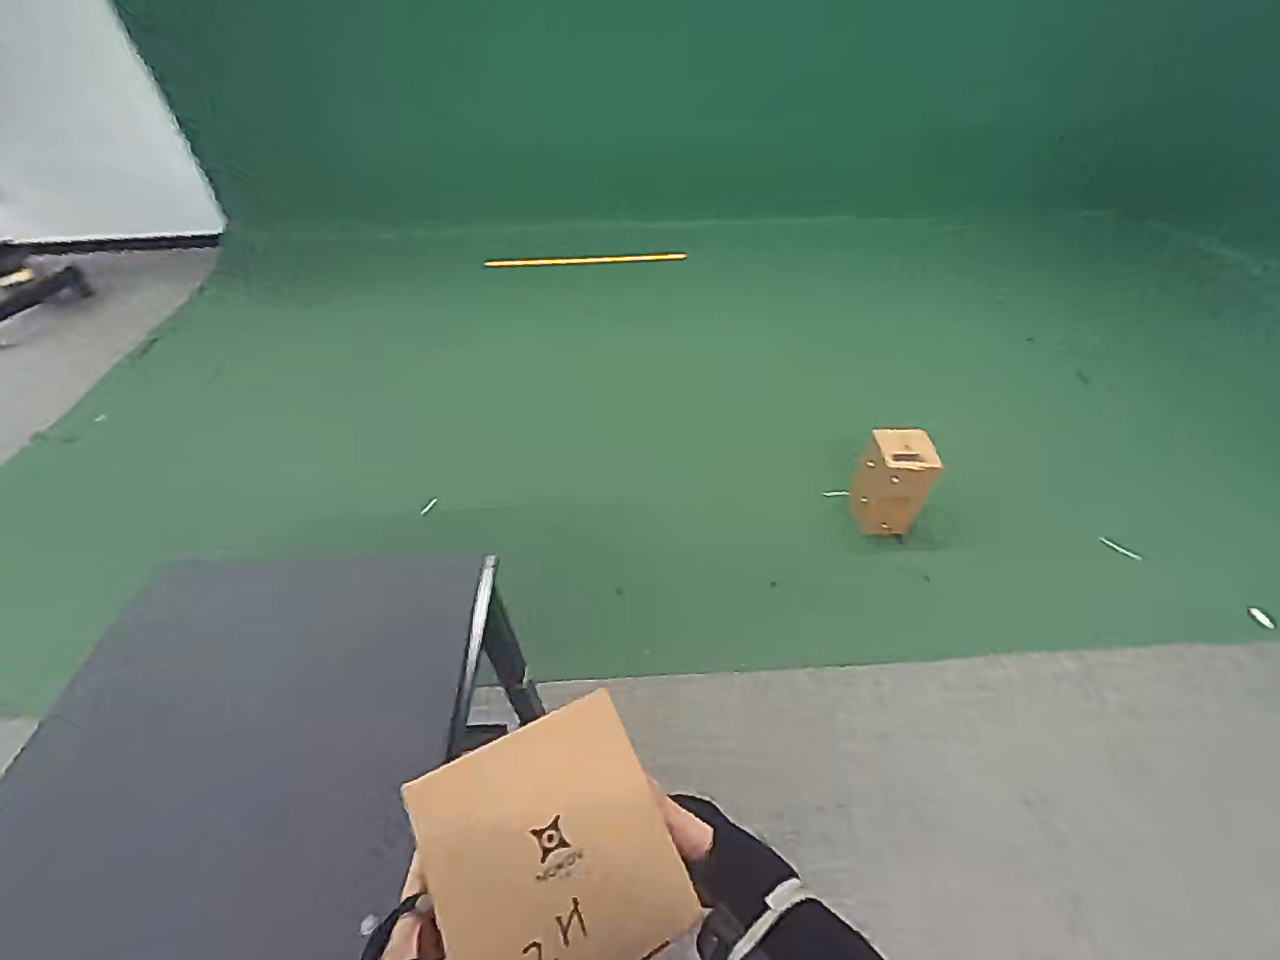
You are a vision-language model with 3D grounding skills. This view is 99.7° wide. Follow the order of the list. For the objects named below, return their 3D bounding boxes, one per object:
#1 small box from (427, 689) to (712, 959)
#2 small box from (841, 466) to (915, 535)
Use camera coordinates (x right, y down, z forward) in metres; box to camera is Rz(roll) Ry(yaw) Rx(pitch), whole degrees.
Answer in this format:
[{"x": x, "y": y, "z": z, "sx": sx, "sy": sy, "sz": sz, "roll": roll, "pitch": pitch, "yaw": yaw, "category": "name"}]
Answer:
[{"x": -0.069, "y": 0.308, "z": 0.459, "sx": 0.168, "sy": 0.176, "sz": 0.179, "roll": -17, "pitch": 64, "yaw": -22, "category": "small box"}, {"x": 0.818, "y": 0.072, "z": 1.883, "sx": 0.168, "sy": 0.176, "sz": 0.179, "roll": 0, "pitch": 47, "yaw": 0, "category": "small box"}]
